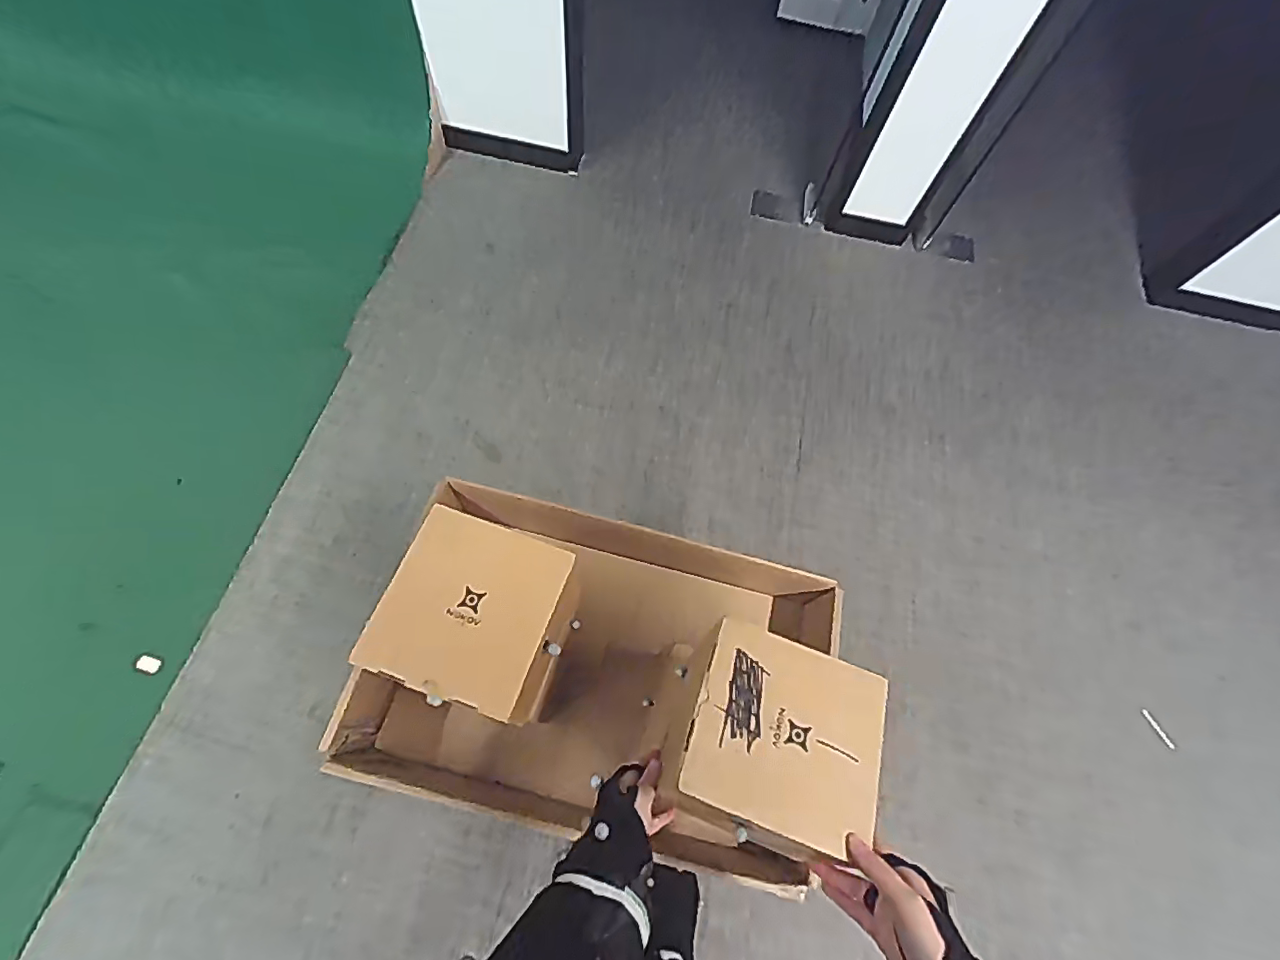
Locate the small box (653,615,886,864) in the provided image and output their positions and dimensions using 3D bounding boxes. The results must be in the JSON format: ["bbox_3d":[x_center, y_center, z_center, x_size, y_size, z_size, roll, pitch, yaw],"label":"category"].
[{"bbox_3d":[0.125,0.270,0.563,0.179,0.176,0.168,21,57,4],"label":"small box"}]

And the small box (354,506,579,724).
[{"bbox_3d":[-0.177,0.160,0.615,0.168,0.176,0.179,19,66,3],"label":"small box"}]
